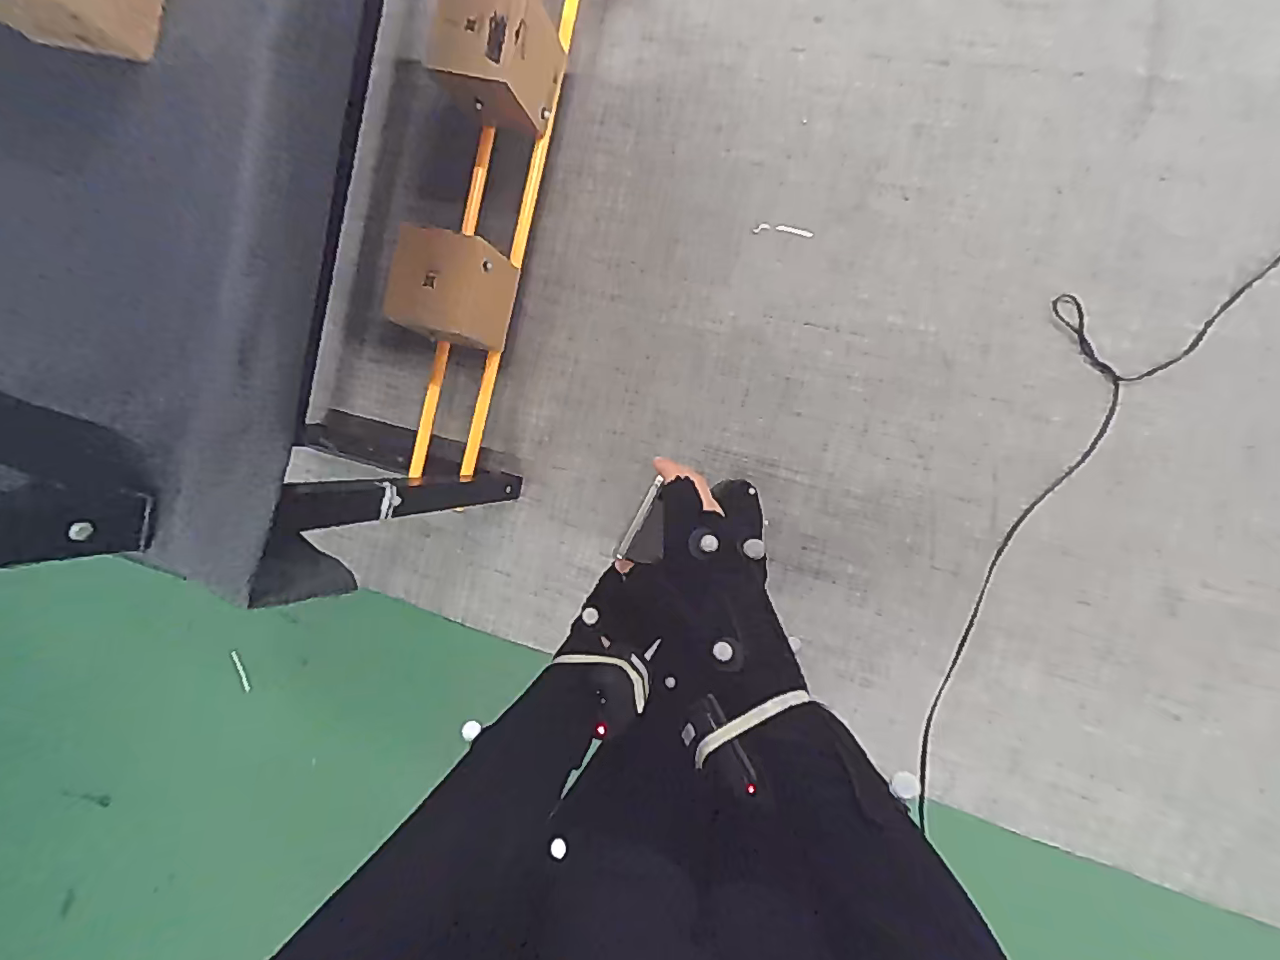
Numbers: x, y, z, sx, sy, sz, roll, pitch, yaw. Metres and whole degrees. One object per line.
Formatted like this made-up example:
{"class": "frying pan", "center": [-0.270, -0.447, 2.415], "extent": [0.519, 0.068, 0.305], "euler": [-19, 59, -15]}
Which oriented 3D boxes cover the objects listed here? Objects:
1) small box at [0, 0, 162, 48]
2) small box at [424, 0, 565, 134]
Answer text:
{"class": "small box", "center": [-0.521, -0.499, 0.434], "extent": [0.168, 0.176, 0.179], "euler": [18, 96, 12]}
{"class": "small box", "center": [-0.259, -0.781, 1.004], "extent": [0.179, 0.176, 0.168], "euler": [18, 96, 12]}
